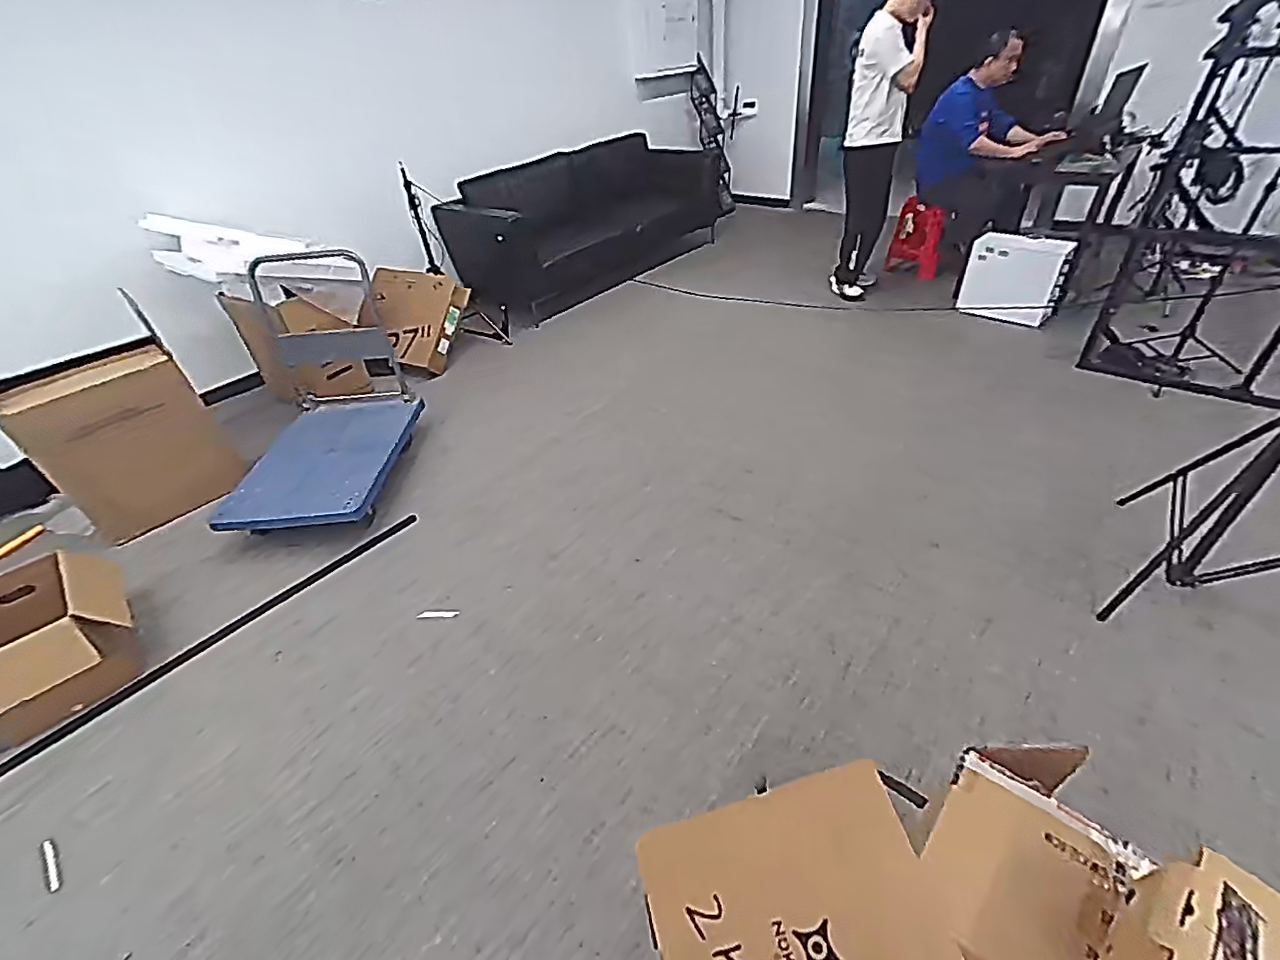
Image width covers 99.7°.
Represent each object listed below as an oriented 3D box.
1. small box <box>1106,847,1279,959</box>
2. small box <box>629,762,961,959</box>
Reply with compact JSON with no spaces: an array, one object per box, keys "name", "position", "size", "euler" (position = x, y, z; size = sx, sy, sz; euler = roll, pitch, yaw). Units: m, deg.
[{"name":"small box","position":[0.635,0.545,0.567],"size":[0.168,0.176,0.179],"euler":[-34,49,-28]},{"name":"small box","position":[0.106,0.320,0.392],"size":[0.179,0.176,0.168],"euler":[-18,58,-1]}]
